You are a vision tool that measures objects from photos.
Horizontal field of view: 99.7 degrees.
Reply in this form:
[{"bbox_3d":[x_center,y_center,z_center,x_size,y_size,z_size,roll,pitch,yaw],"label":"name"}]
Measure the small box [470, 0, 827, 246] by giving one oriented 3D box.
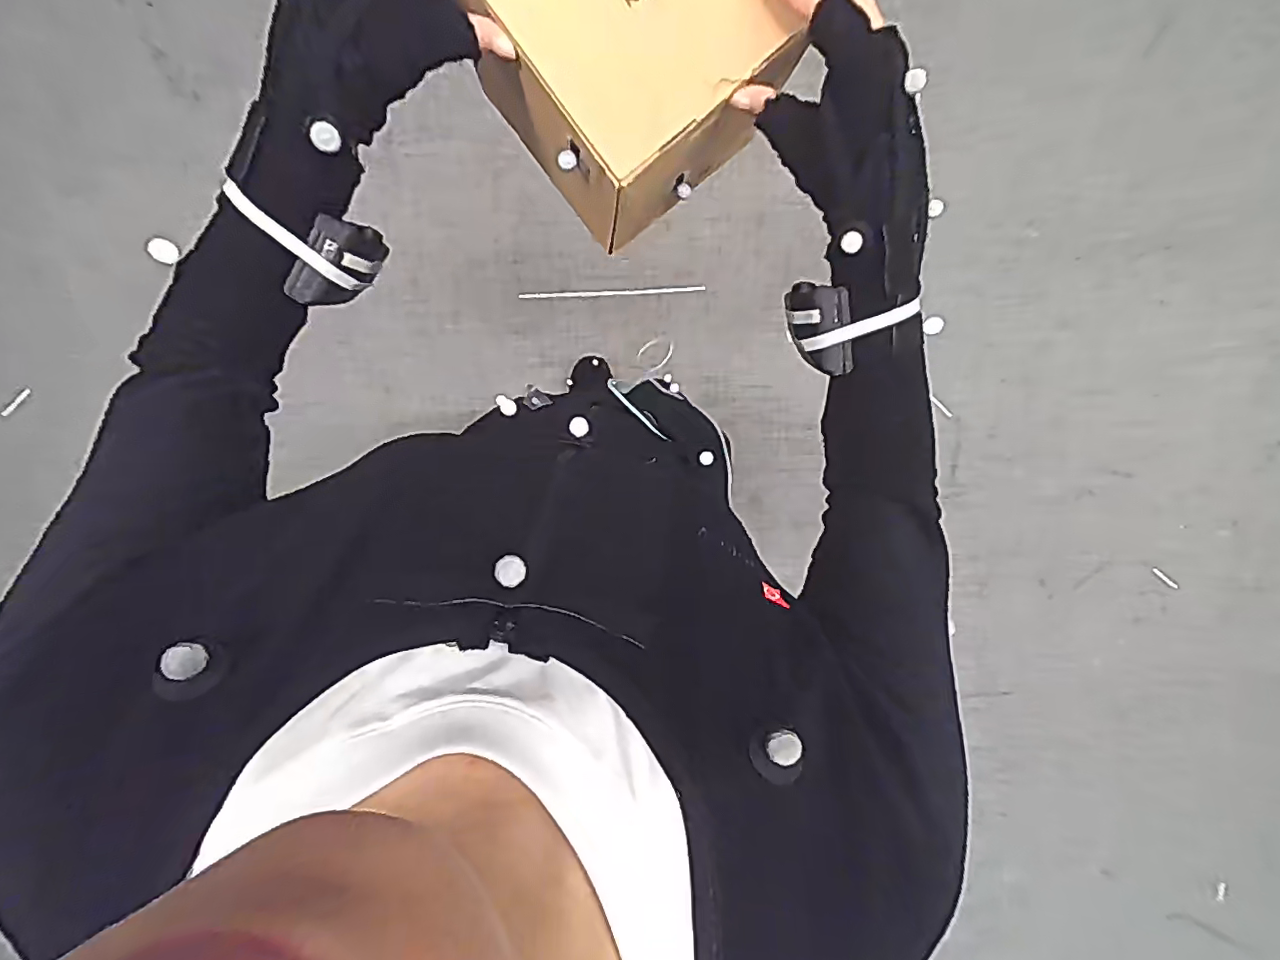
[{"bbox_3d":[-0.007,-0.308,0.397,0.168,0.176,0.179,-39,100,1],"label":"small box"}]
